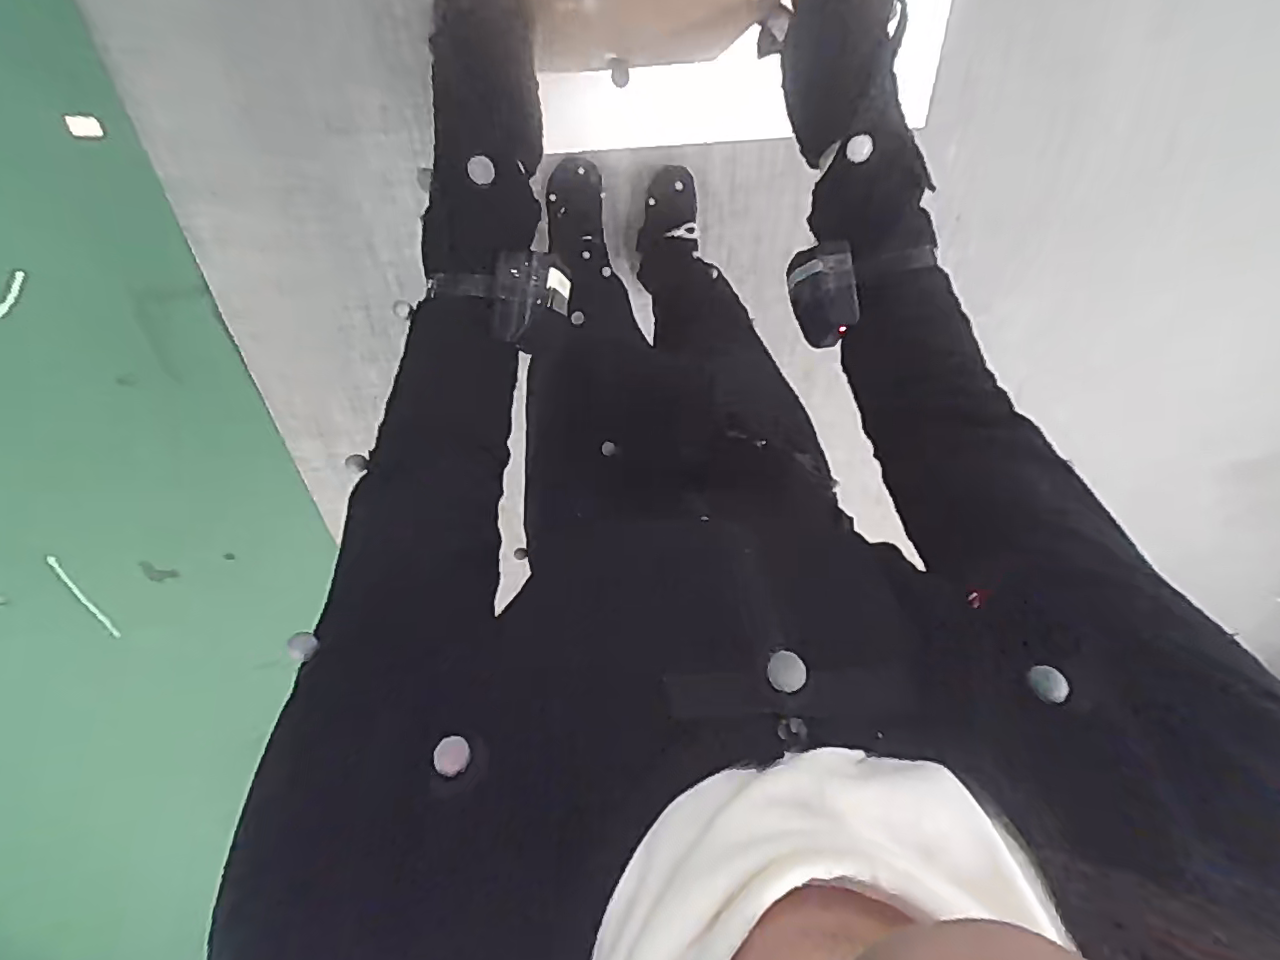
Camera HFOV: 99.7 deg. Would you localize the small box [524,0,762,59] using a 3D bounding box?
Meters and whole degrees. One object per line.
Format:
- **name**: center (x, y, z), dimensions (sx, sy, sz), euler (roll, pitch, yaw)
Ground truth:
- **small box**: center (-0.004, -0.408, 0.351), dimensions (0.168, 0.176, 0.179), euler (-11, 117, -7)
